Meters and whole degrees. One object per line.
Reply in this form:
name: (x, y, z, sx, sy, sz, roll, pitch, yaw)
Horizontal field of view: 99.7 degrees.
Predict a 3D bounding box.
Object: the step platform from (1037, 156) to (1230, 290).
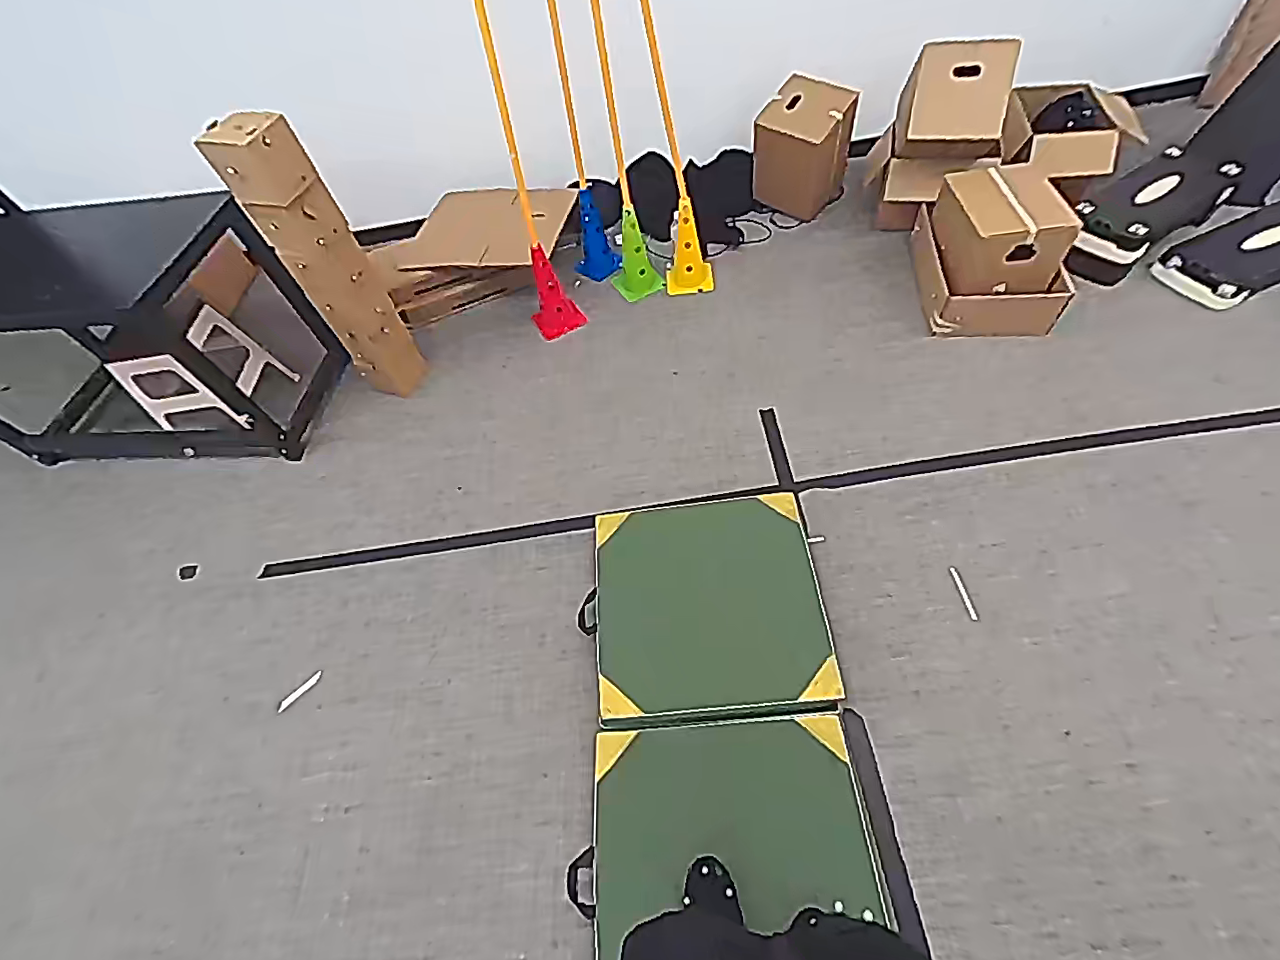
step platform: (1.928, -1.017, 2.117, 0.684, 0.204, 0.286, -32, 57, -13)
